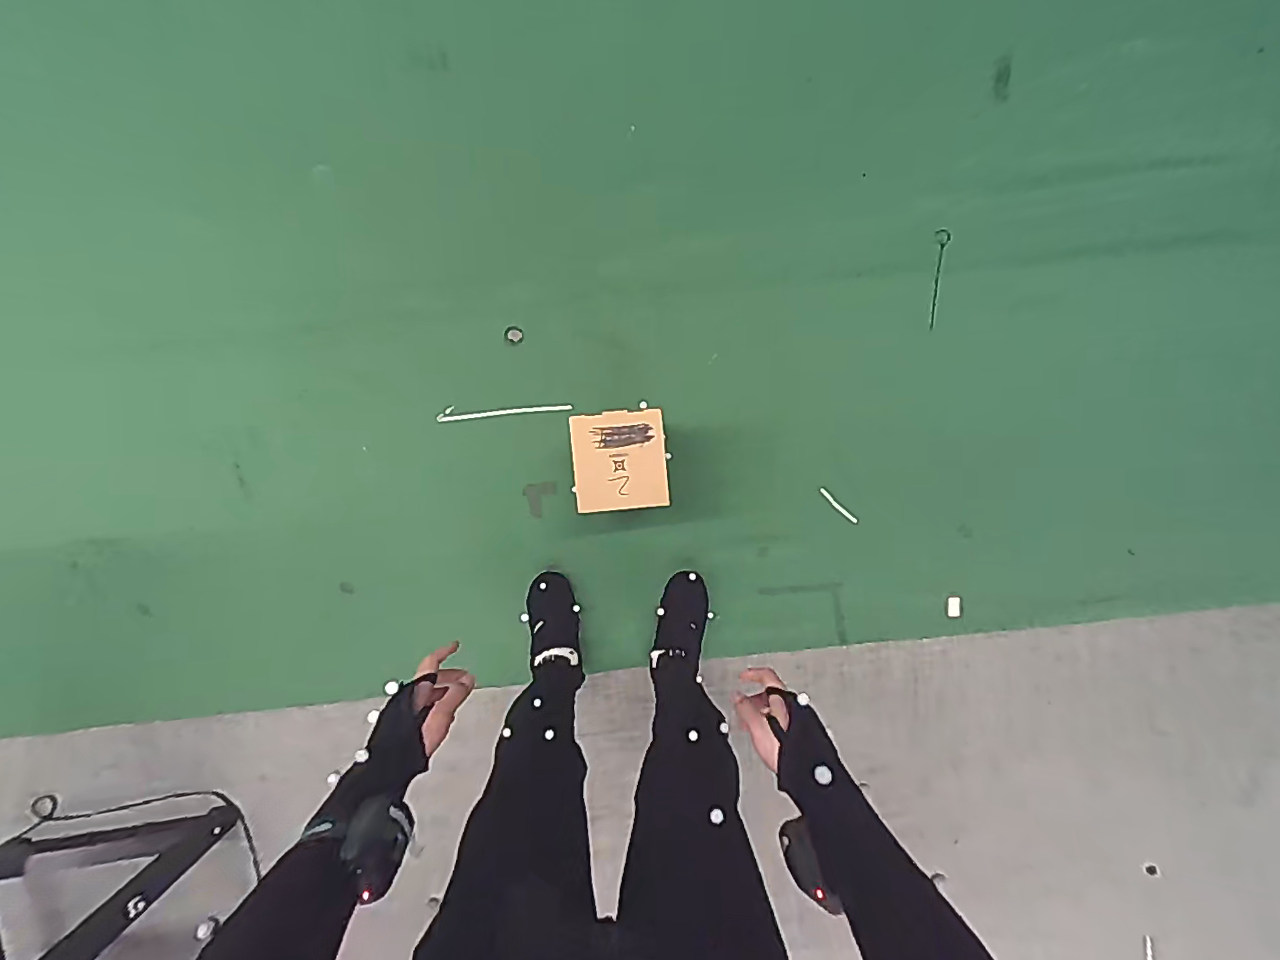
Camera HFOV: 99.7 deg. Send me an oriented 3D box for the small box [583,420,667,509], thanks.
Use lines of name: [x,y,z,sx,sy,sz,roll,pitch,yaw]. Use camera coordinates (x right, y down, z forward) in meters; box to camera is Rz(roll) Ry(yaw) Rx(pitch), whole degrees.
small box: [-0.033,-0.035,1.195,0.168,0.176,0.179,-5,93,1]
